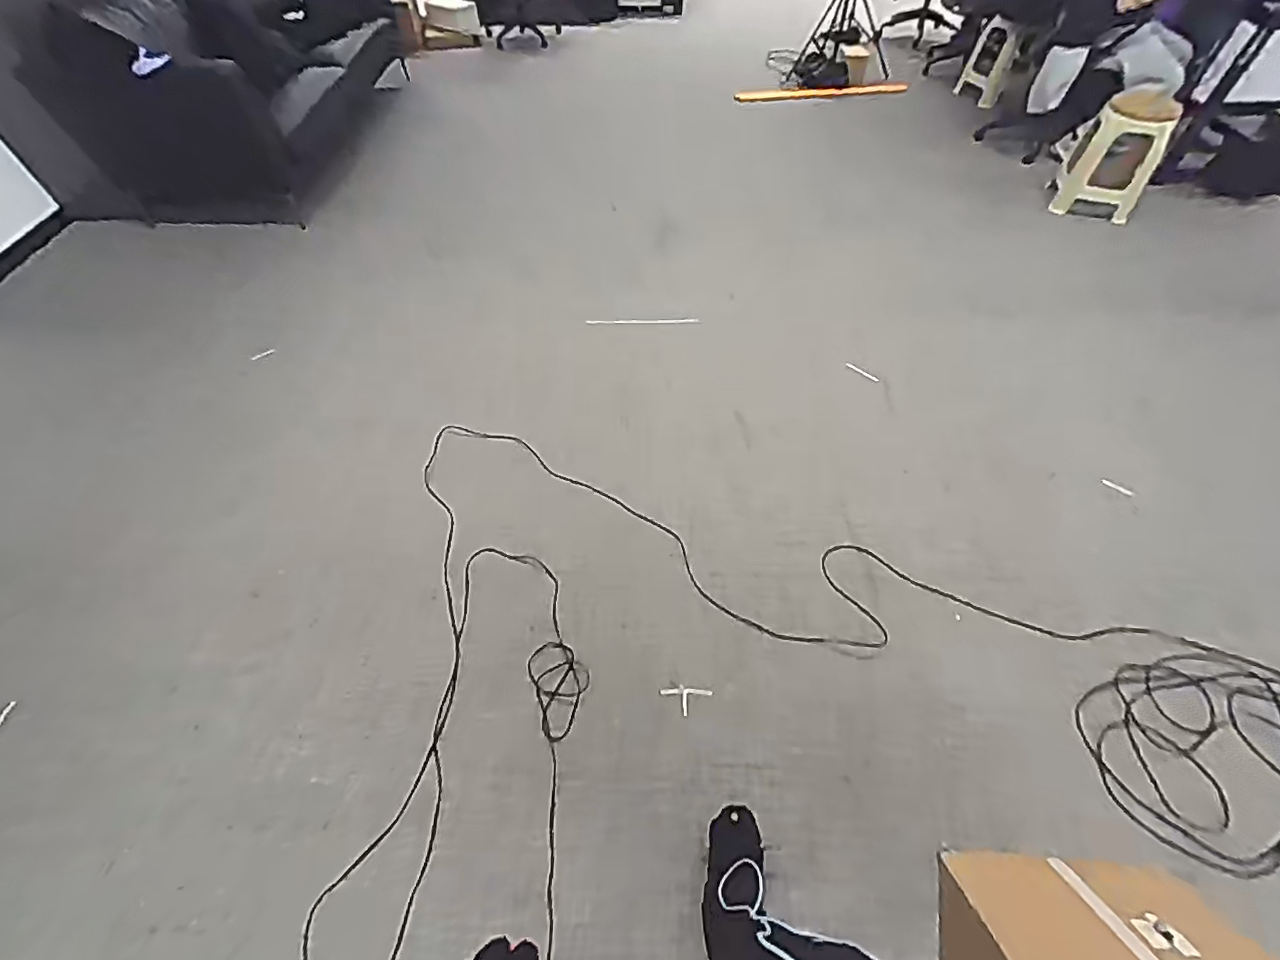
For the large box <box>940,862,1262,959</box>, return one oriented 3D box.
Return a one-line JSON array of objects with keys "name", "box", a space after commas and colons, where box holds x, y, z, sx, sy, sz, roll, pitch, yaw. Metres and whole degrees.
[{"name": "large box", "box": [0.582, 0.716, 0.594, 0.320, 0.408, 0.320, 1, 88, 6]}]
